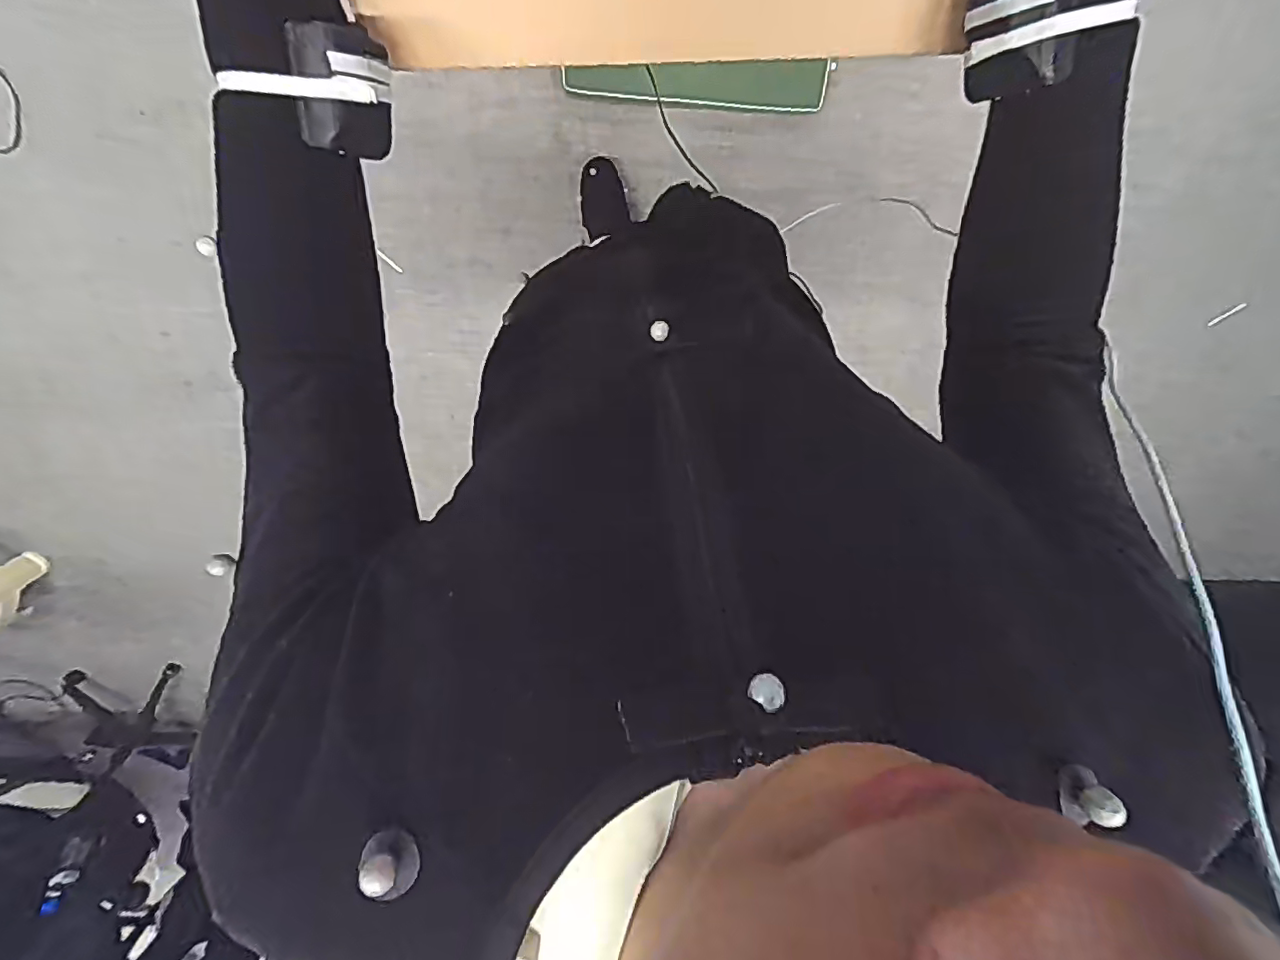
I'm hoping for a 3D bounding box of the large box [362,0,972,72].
[{"bbox_3d":[0.008,-0.502,0.348,0.408,0.320,0.320,-3,141,-1],"label":"large box"}]
